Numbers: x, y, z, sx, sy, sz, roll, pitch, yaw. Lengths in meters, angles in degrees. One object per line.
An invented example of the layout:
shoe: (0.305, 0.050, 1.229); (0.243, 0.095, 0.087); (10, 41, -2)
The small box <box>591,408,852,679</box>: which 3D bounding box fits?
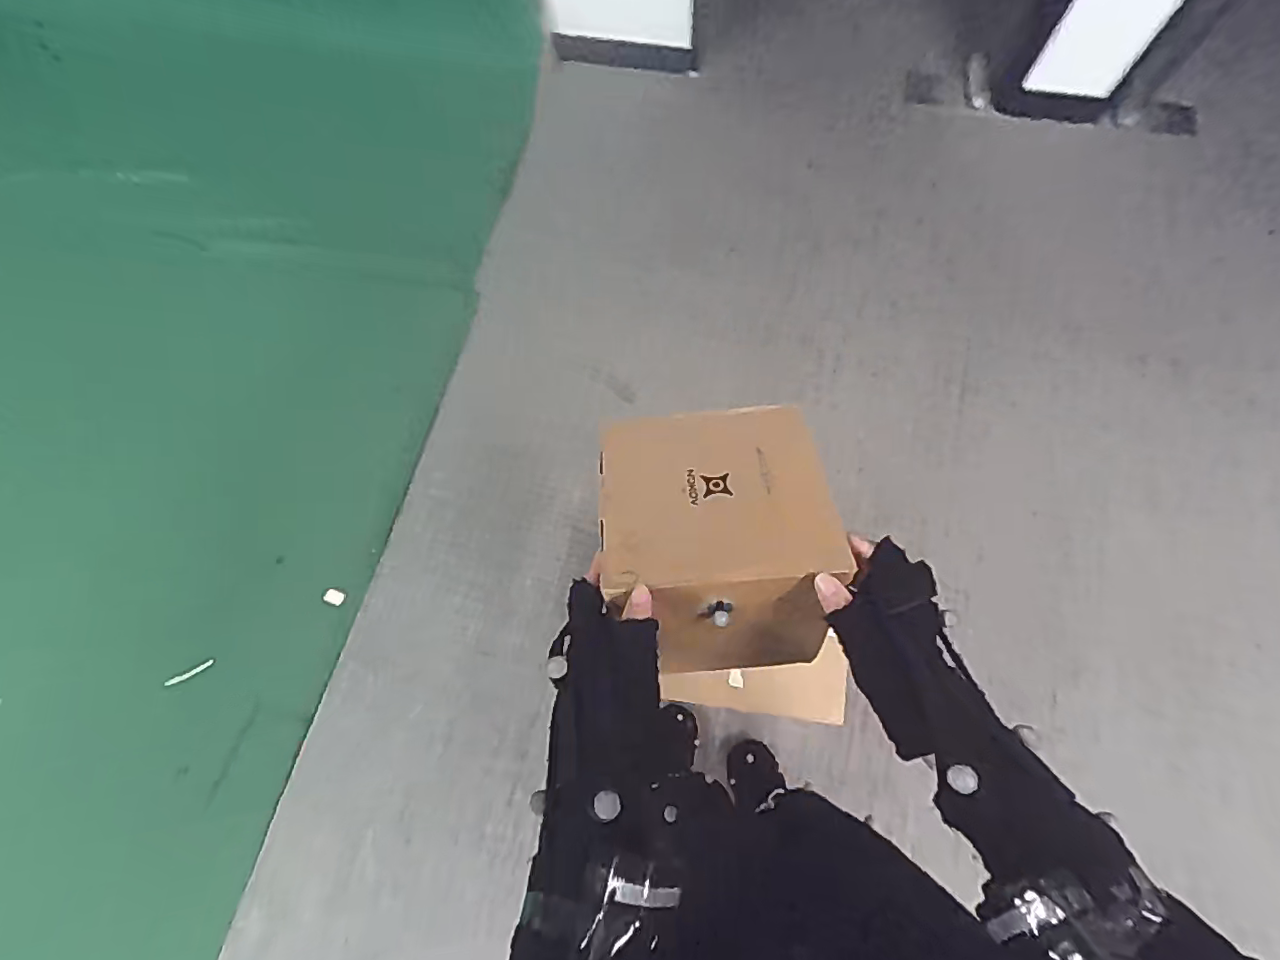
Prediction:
small box: (0.056, 0.061, 0.468); (0.179, 0.176, 0.168); (-5, 51, 0)
